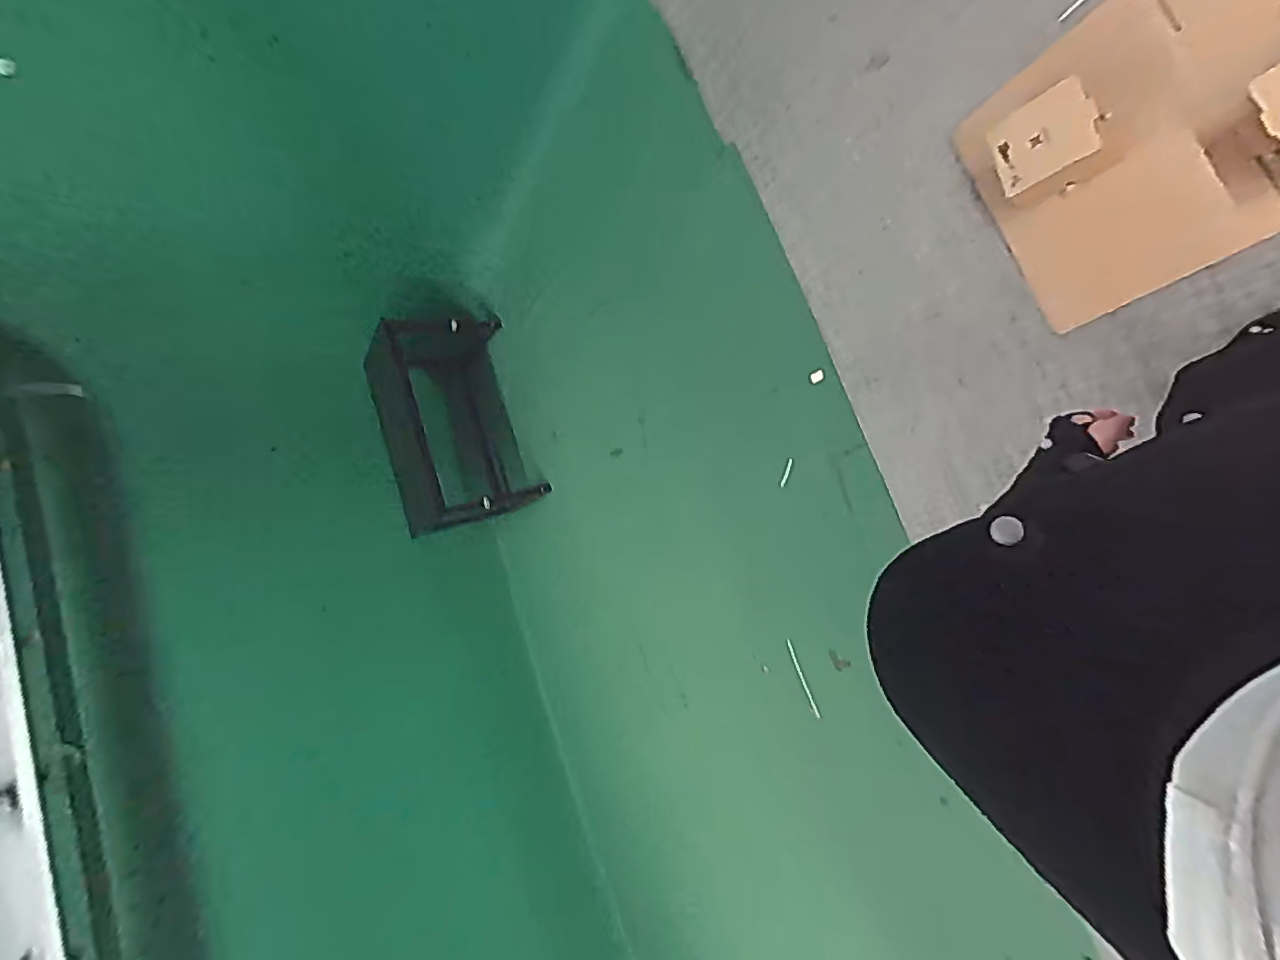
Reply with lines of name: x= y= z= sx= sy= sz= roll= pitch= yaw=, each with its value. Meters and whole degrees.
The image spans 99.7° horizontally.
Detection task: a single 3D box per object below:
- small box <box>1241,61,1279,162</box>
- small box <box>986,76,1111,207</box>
small box: x=1.176 y=-0.650 z=0.908 sx=0.179 sy=0.176 sz=0.168 roll=-30 pitch=77 yaw=51
small box: x=0.912 y=-0.738 z=1.202 sx=0.179 sy=0.176 sz=0.168 roll=-19 pitch=86 yaw=51
